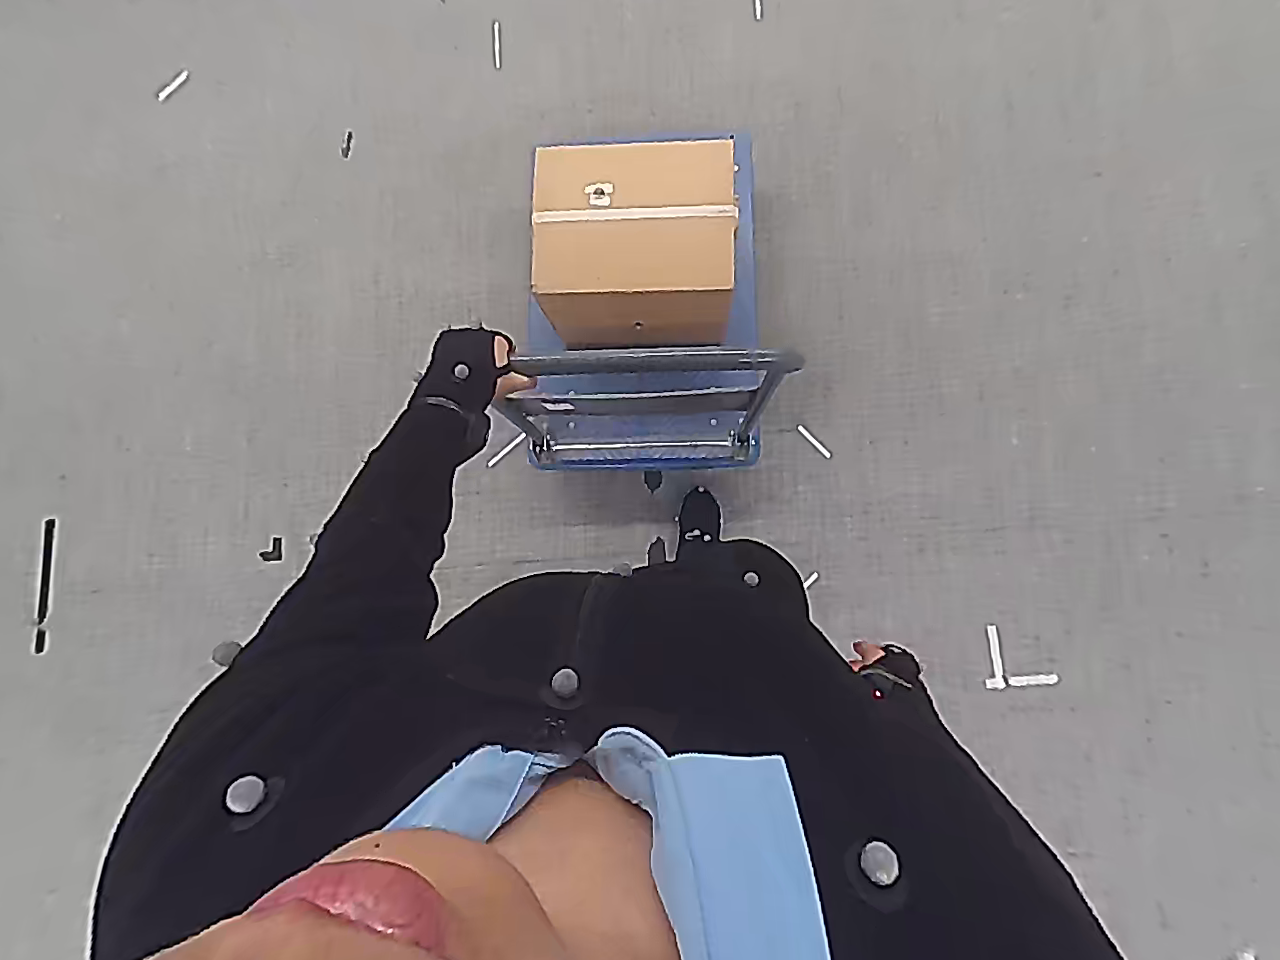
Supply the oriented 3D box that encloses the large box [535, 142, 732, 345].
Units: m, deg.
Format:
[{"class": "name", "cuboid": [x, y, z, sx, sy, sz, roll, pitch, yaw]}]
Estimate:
[{"class": "large box", "cuboid": [-0.001, -0.512, 1.240, 0.408, 0.320, 0.320, 0, 83, 6]}]
